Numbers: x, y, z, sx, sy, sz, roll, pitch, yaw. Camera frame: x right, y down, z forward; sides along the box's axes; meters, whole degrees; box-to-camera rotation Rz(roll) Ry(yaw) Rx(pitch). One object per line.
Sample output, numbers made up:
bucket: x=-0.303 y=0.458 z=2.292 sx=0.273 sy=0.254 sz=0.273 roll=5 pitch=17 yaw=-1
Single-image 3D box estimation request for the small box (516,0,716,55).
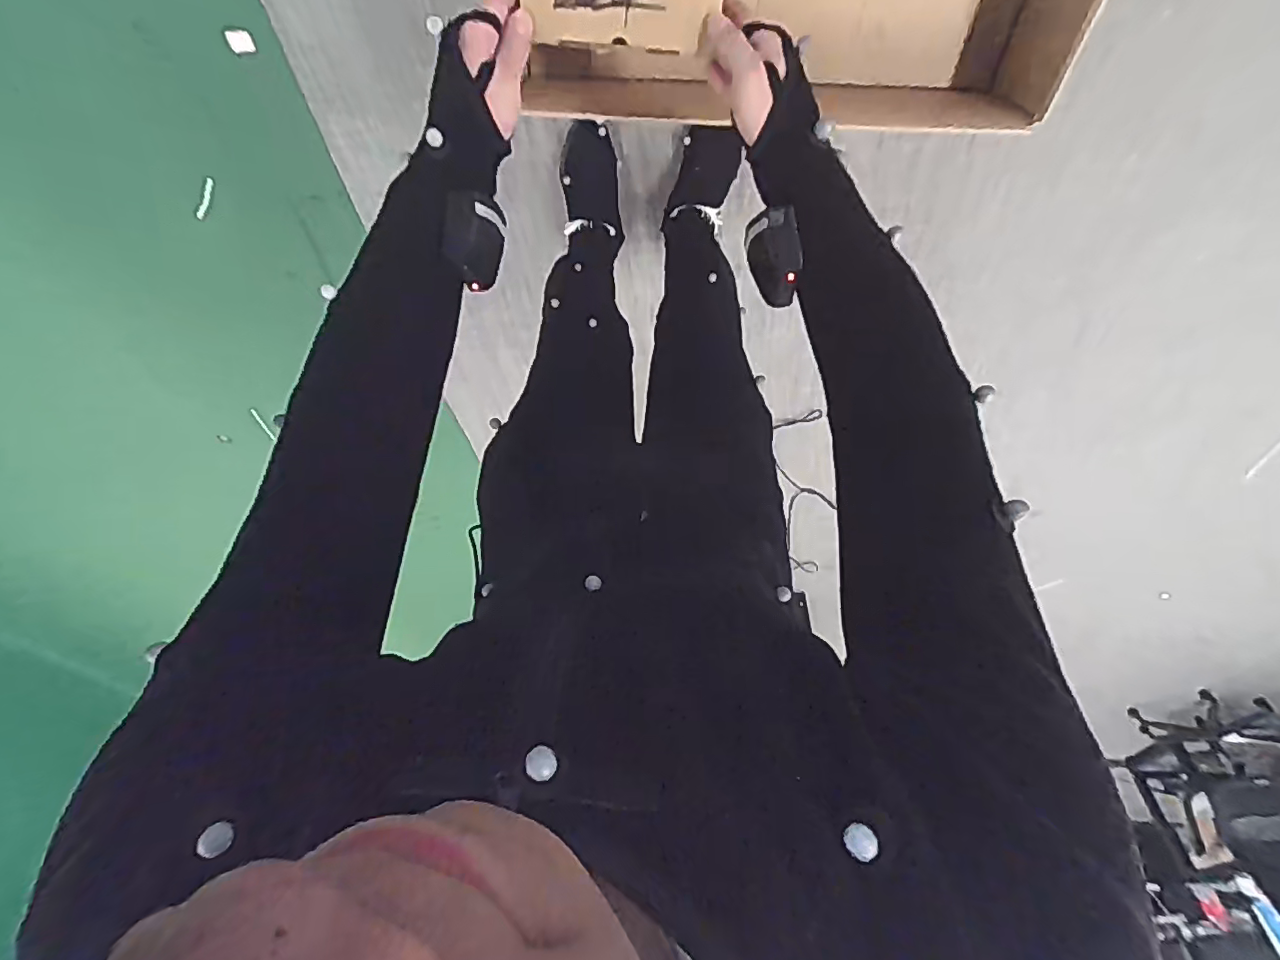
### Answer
small box: x=-0.009 y=-0.486 z=0.451 sx=0.168 sy=0.176 sz=0.179 roll=6 pitch=137 yaw=2
